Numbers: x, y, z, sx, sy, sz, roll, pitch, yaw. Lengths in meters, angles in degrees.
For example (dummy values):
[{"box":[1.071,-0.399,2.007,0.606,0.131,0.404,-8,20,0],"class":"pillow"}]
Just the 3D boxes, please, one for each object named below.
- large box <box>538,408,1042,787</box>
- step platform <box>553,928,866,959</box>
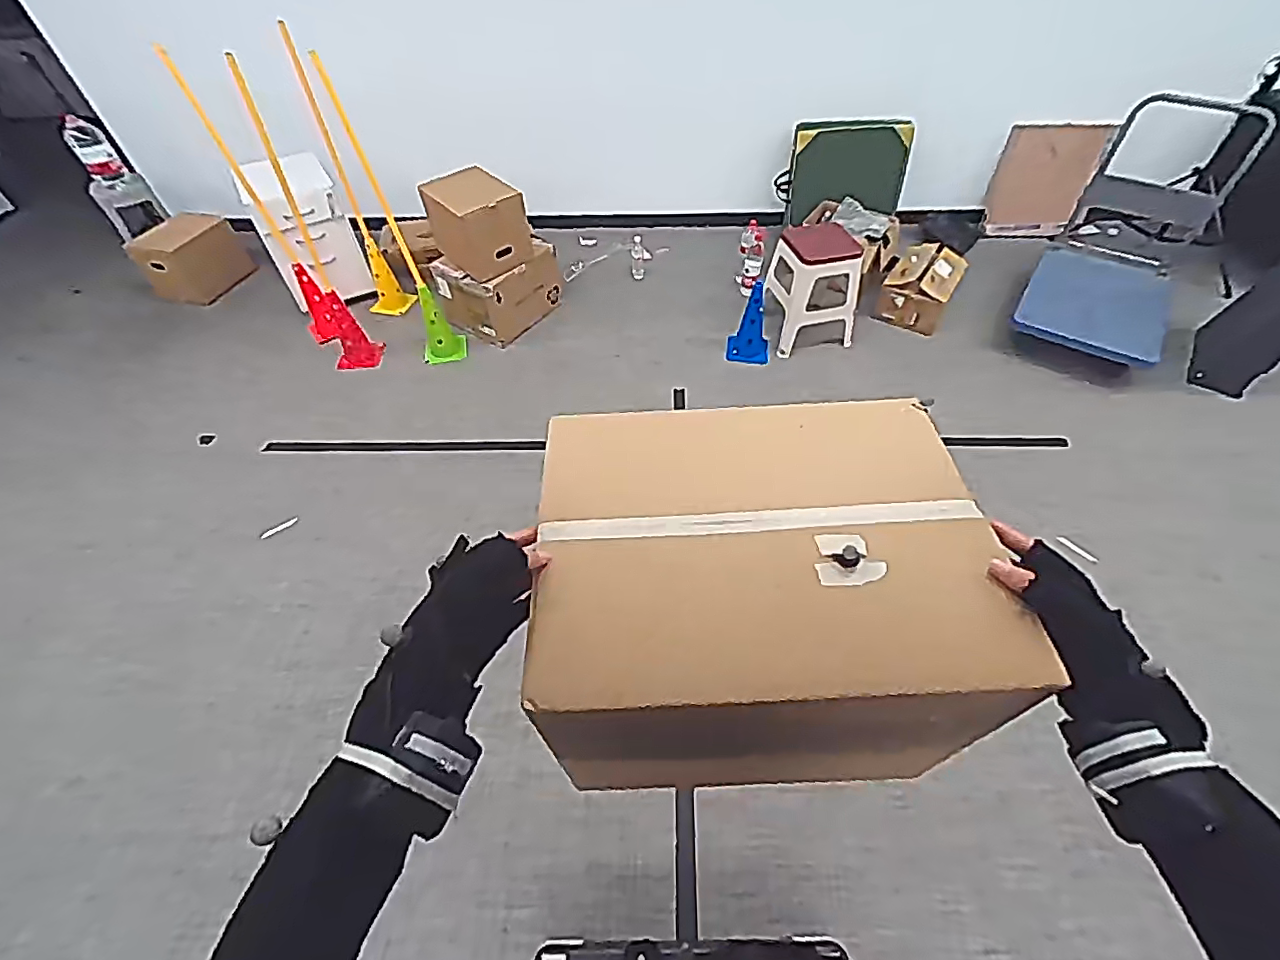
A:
[{"box":[0.113,0.141,0.625,0.408,0.320,0.320,-3,51,0],"class":"large box"},{"box":[0.144,1.115,1.112,0.684,0.204,0.286,-1,50,0],"class":"step platform"}]
